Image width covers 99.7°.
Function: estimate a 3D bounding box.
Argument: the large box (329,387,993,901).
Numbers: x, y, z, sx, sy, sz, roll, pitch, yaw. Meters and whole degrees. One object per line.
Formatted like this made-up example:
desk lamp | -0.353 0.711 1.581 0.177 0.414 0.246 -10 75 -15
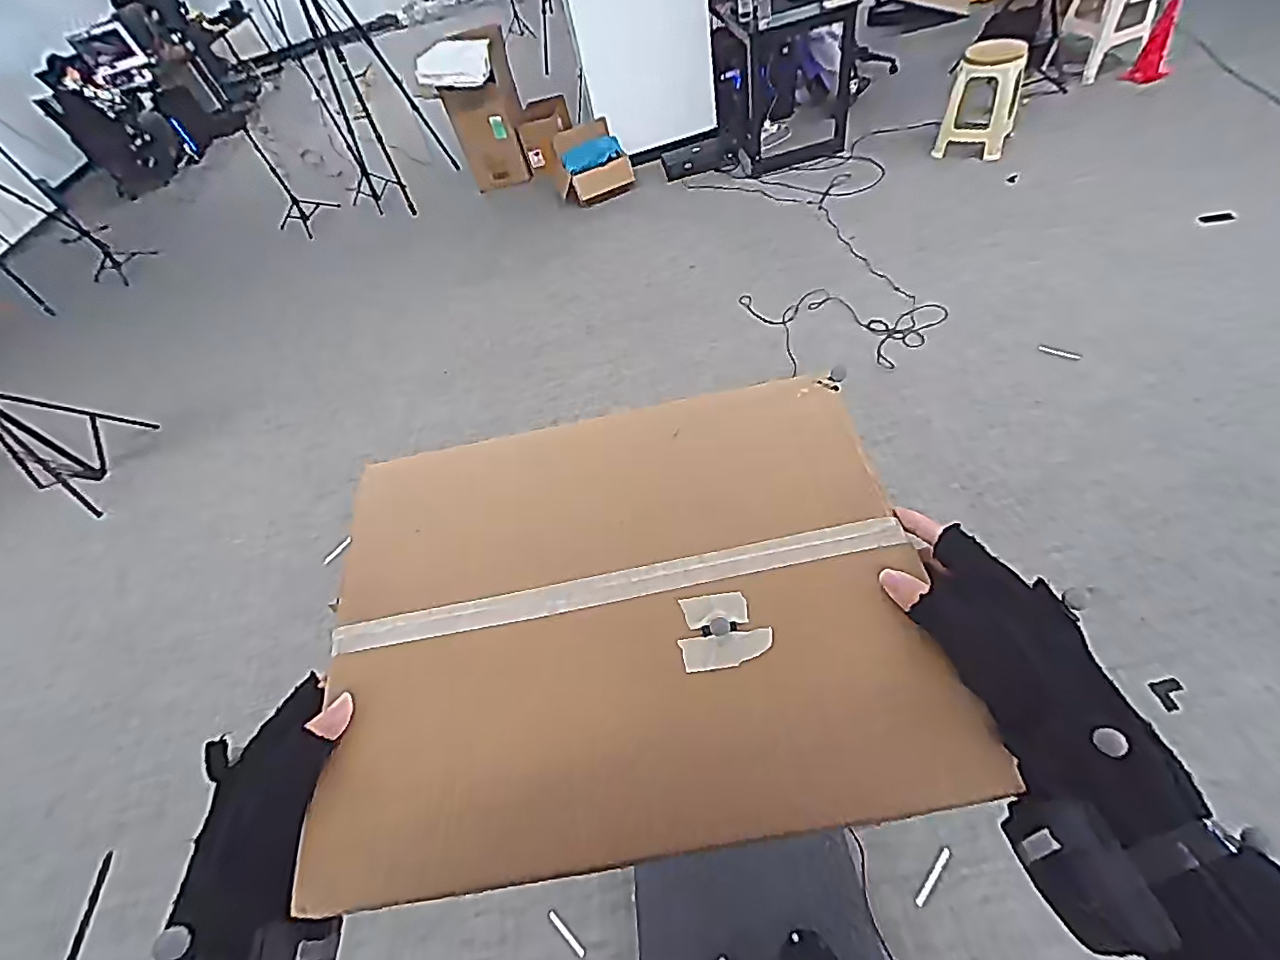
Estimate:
large box | 0.006 0.163 0.517 0.408 0.320 0.320 -11 56 2
